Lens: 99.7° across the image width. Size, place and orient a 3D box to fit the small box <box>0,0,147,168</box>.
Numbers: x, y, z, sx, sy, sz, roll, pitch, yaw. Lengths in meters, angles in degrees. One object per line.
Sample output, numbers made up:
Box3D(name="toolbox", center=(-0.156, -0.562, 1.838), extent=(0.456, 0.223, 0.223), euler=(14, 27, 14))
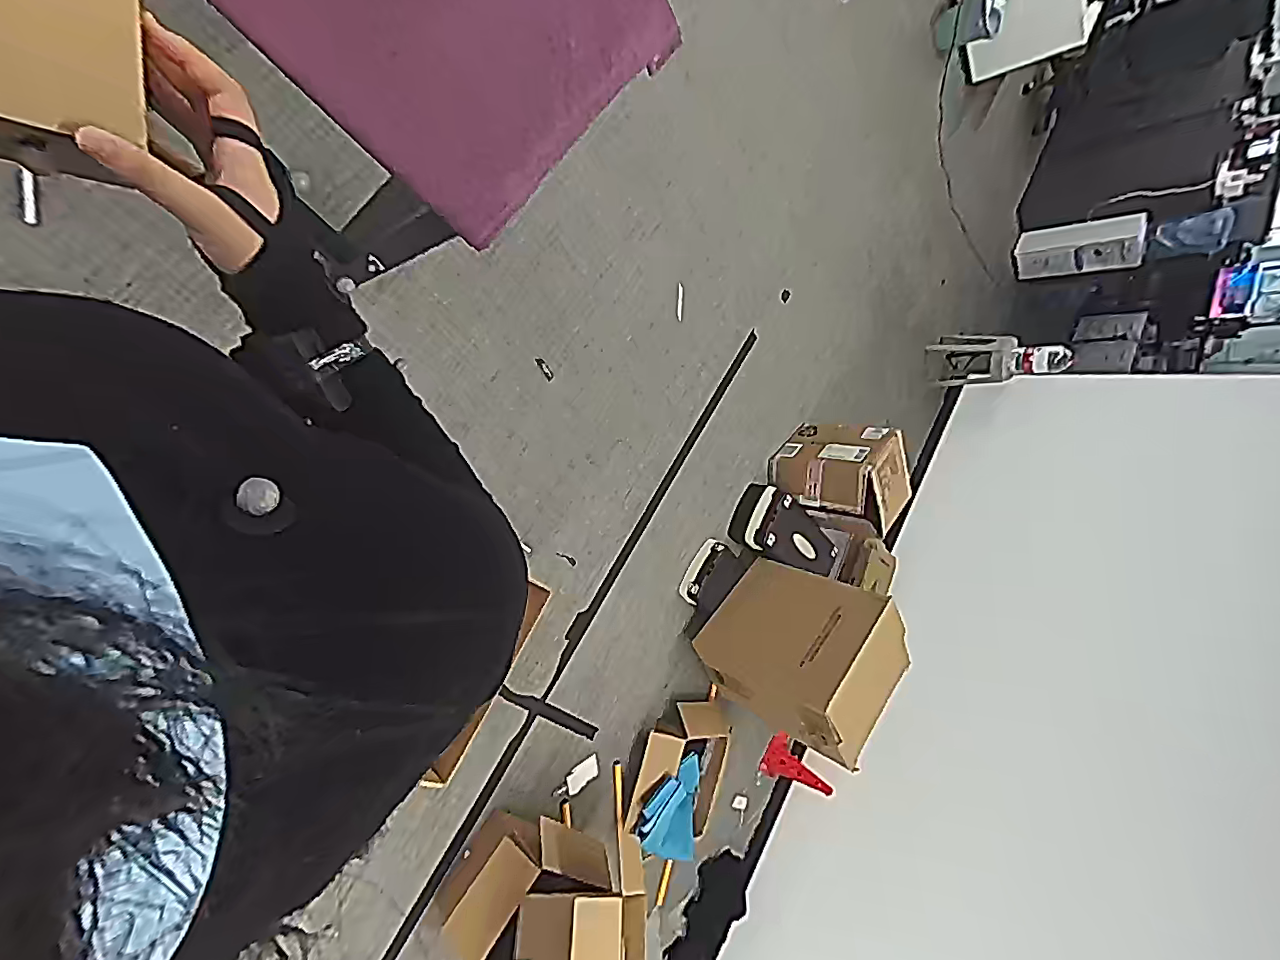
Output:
Box3D(name="small box", center=(-0.381, -0.280, 0.278), extent=(0.179, 0.176, 0.168), euler=(-4, 108, -44))
